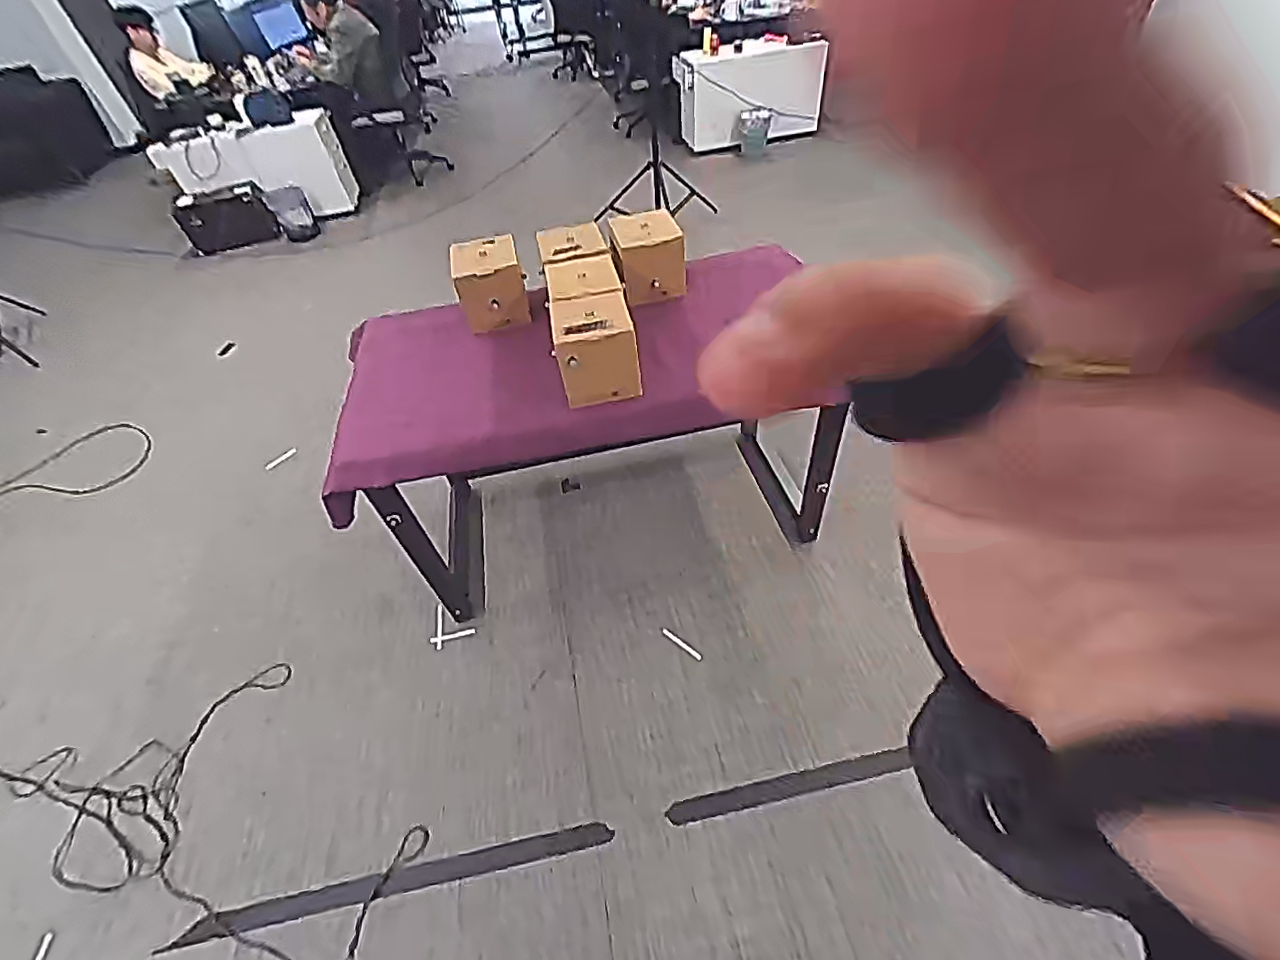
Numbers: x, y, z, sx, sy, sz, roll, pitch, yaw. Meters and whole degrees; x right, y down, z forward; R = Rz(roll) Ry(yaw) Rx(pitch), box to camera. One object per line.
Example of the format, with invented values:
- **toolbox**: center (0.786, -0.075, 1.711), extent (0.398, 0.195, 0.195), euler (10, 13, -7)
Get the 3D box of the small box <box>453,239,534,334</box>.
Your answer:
- **small box**: center (-0.387, -0.507, 1.438), extent (0.168, 0.176, 0.179), euler (-13, 50, -5)
